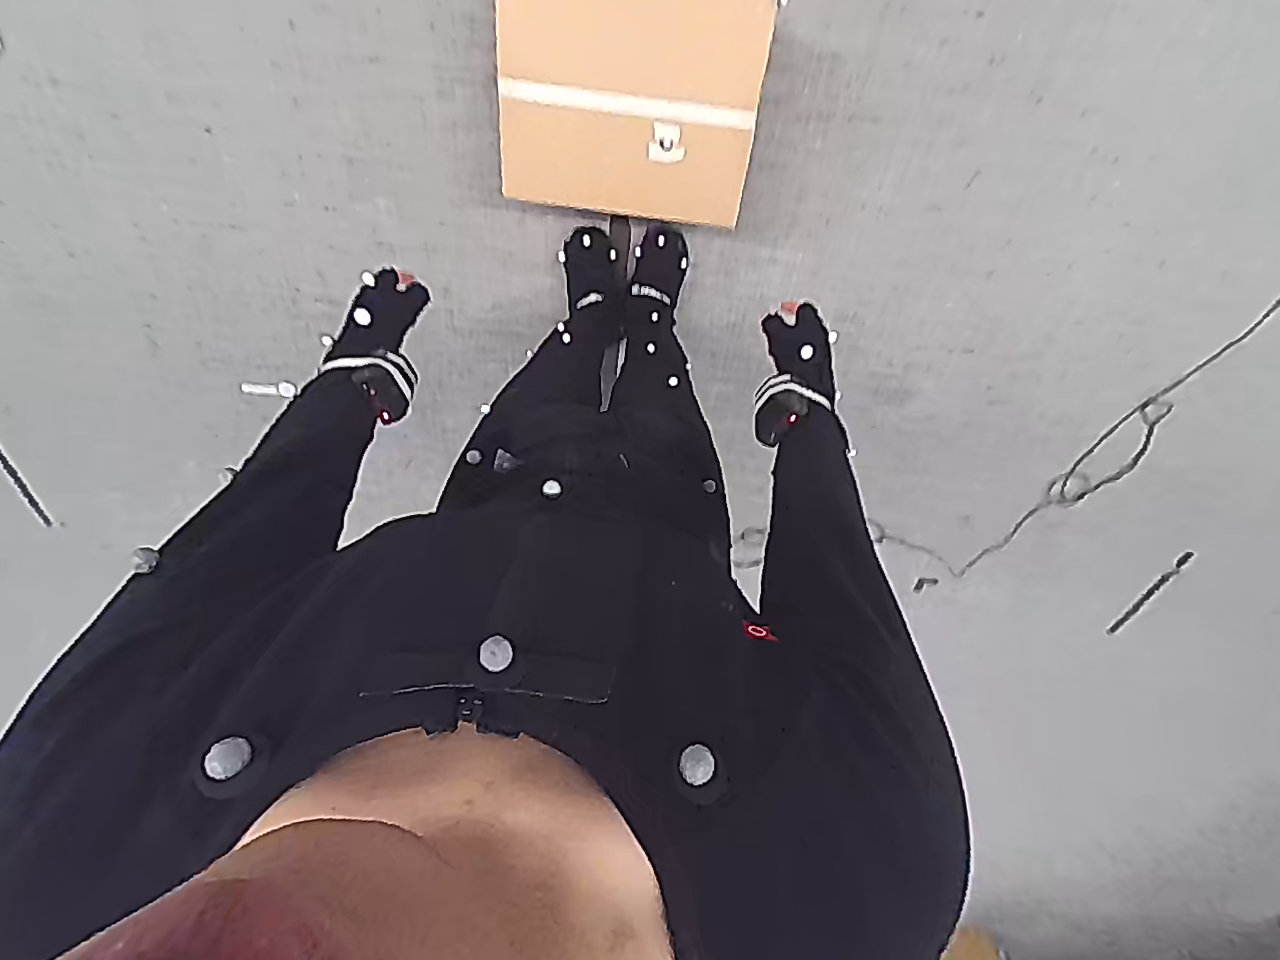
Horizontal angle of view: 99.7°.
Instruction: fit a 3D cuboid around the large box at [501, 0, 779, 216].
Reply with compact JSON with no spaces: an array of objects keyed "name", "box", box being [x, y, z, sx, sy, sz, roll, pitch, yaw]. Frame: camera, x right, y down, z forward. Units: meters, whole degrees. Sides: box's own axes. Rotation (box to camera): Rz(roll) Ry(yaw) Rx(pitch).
[{"name":"large box","box":[-0.010,-0.681,0.959,0.408,0.320,0.320,6,126,-2]}]
